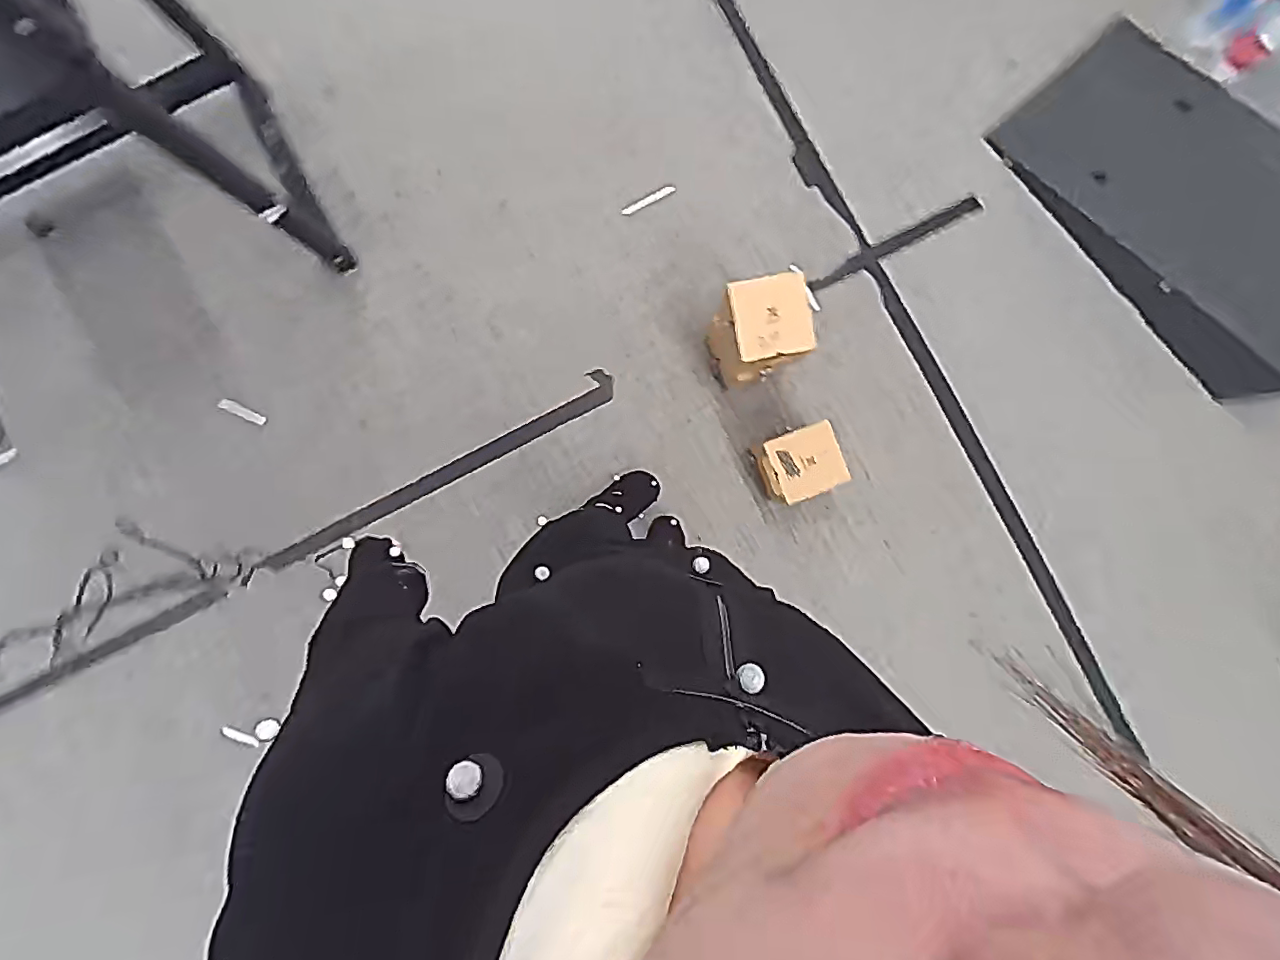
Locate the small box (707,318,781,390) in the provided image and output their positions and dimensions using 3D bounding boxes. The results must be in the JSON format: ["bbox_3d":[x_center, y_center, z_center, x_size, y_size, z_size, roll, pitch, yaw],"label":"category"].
[{"bbox_3d":[0.286,-0.343,1.405,0.168,0.176,0.179,-22,91,0],"label":"small box"}]

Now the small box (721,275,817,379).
[{"bbox_3d":[0.288,-0.343,1.239,0.168,0.176,0.179,-9,90,1],"label":"small box"}]

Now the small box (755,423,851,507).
[{"bbox_3d":[0.412,-0.036,1.409,0.179,0.176,0.168,-21,91,0],"label":"small box"}]
